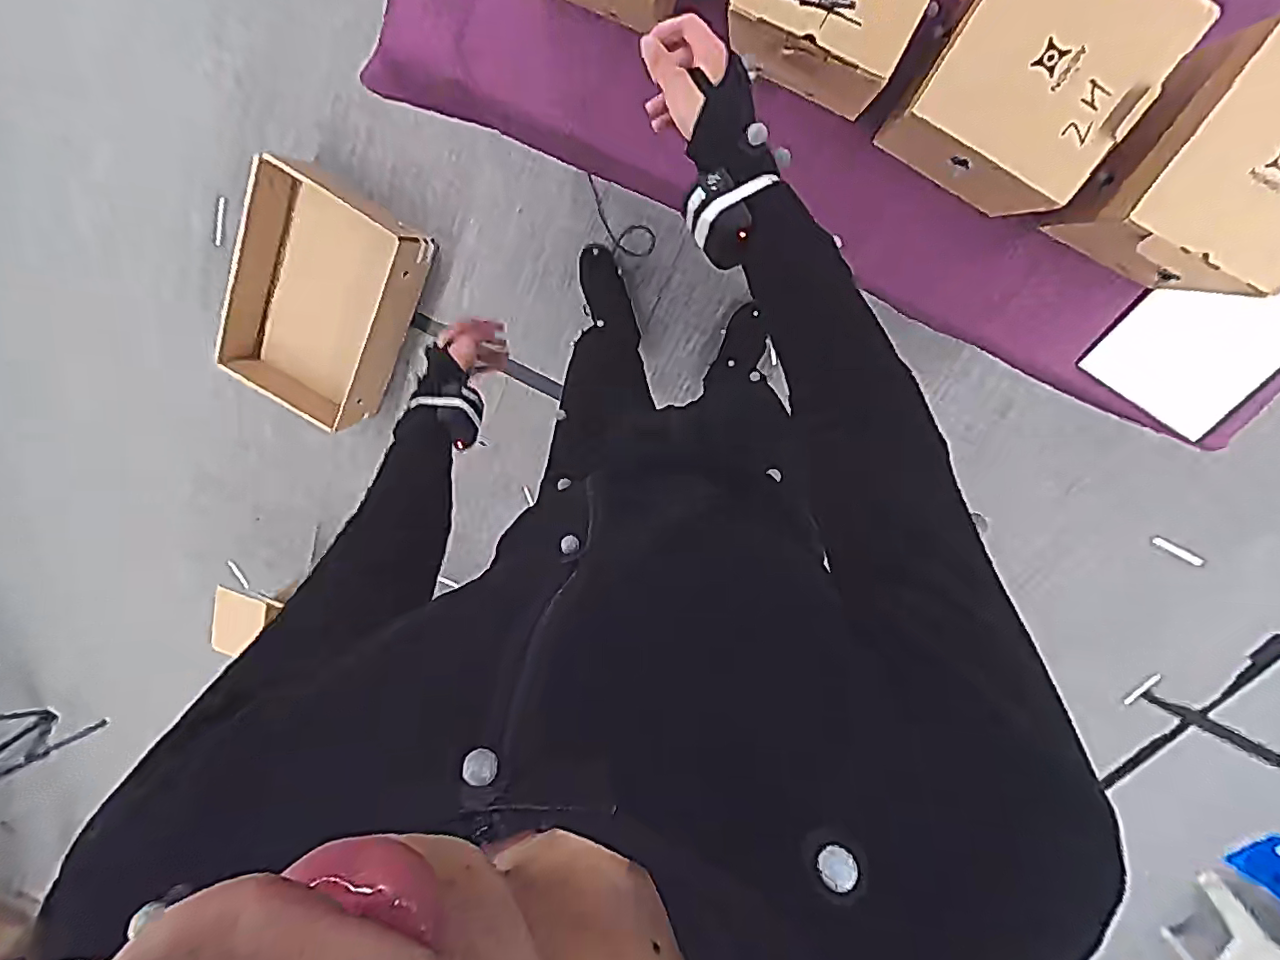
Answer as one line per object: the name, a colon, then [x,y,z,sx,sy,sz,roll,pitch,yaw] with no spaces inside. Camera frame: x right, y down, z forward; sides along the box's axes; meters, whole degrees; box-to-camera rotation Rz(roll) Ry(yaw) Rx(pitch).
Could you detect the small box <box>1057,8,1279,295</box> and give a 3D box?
small box: [0.572,-0.309,0.541,0.168,0.176,0.179,27,114,-2]
